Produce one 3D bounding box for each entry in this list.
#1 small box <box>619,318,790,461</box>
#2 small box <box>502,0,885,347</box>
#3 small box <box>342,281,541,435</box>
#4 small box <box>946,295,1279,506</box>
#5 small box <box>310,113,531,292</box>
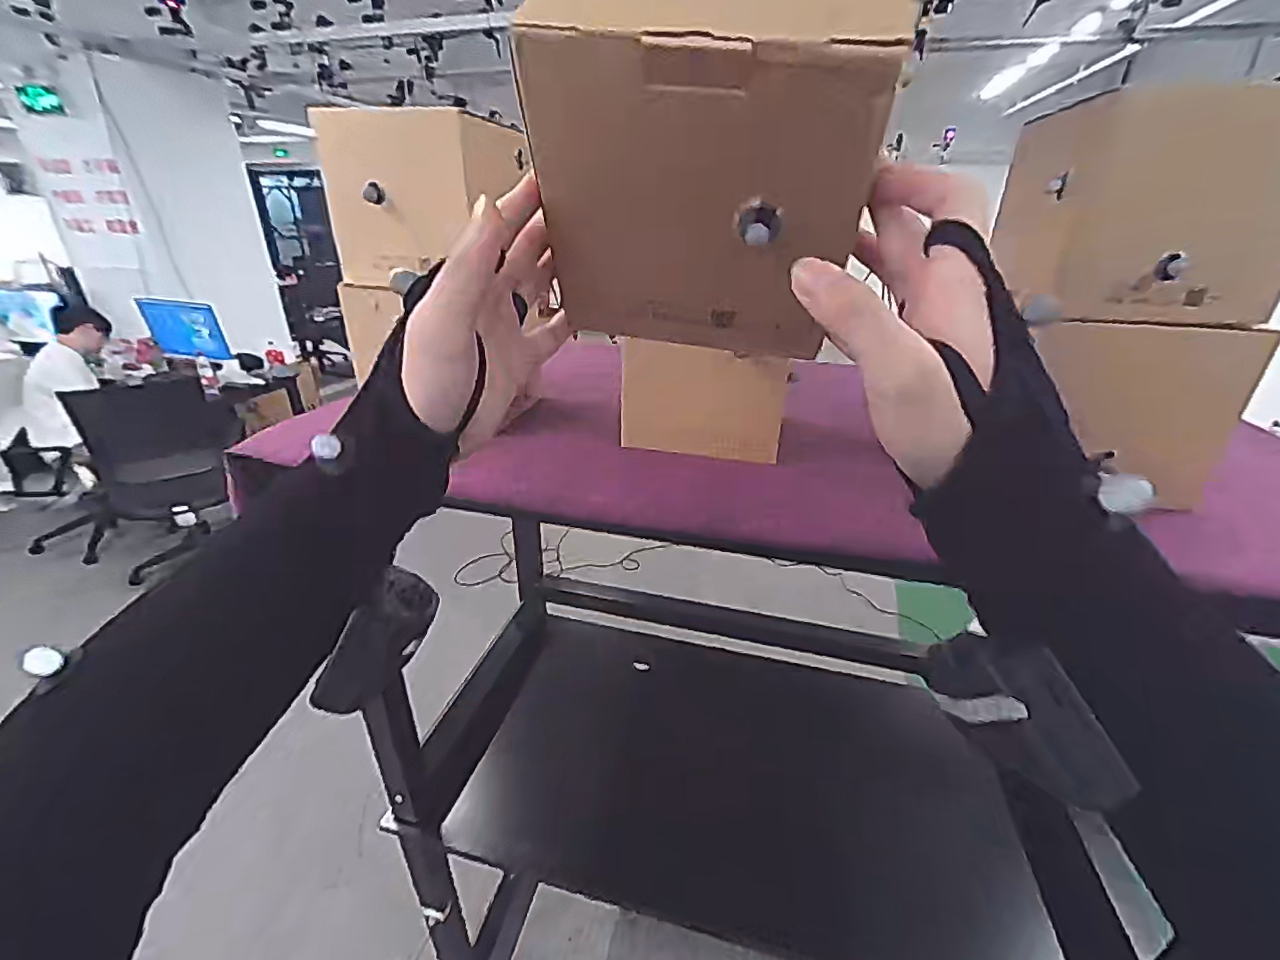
[{"bbox_3d":[0.082,-0.131,0.636,0.179,0.176,0.168,7,26,14],"label":"small box"},{"bbox_3d":[0.043,-0.207,0.333,0.168,0.176,0.179,11,59,11],"label":"small box"},{"bbox_3d":[-0.241,-0.166,0.701,0.179,0.176,0.168,7,27,10],"label":"small box"},{"bbox_3d":[0.442,-0.087,0.548,0.179,0.176,0.168,7,25,13],"label":"small box"},{"bbox_3d":[-0.236,-0.315,0.637,0.168,0.176,0.179,6,26,11],"label":"small box"}]
